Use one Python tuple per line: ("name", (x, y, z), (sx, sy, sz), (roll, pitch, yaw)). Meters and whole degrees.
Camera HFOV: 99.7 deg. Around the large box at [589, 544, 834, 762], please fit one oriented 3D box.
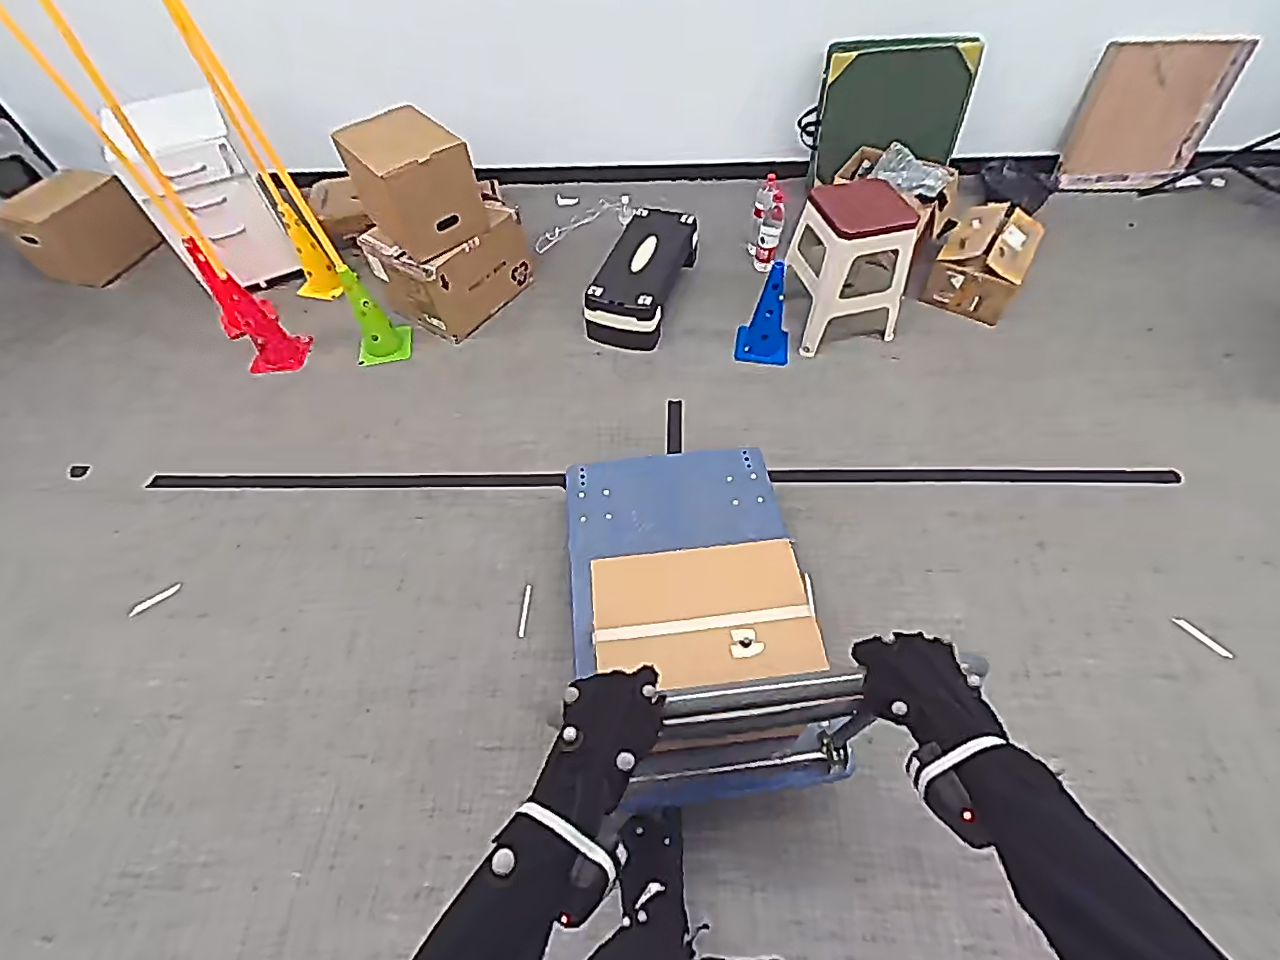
("large box", (0.116, 0.360, 1.107), (0.408, 0.320, 0.320), (-6, 55, -3))
